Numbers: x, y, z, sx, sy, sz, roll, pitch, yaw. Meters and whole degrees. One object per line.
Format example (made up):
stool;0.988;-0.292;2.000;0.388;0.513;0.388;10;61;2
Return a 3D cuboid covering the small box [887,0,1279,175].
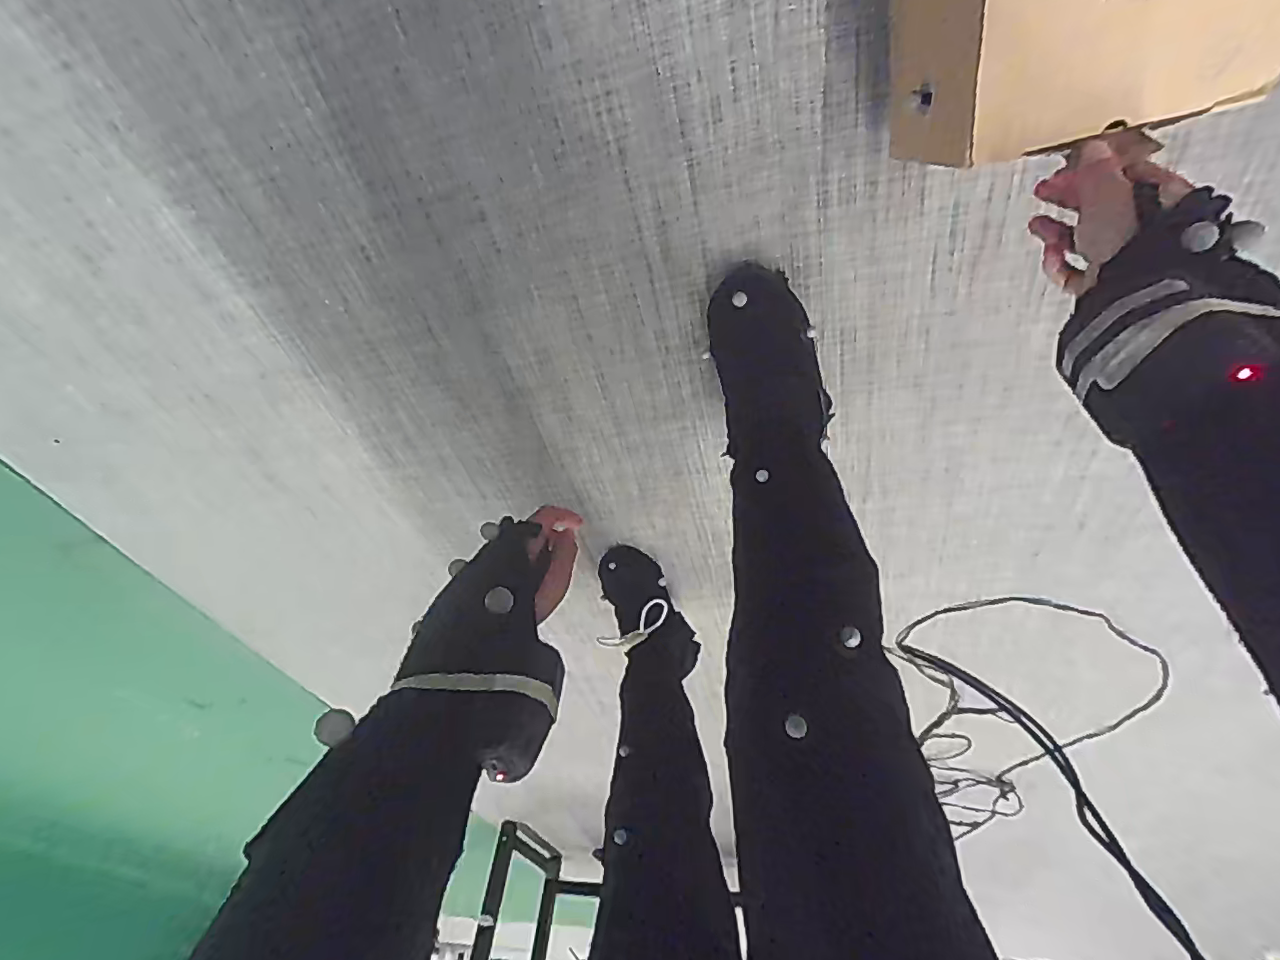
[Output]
small box;0.275;-0.322;0.358;0.168;0.176;0.179;-8;121;10
